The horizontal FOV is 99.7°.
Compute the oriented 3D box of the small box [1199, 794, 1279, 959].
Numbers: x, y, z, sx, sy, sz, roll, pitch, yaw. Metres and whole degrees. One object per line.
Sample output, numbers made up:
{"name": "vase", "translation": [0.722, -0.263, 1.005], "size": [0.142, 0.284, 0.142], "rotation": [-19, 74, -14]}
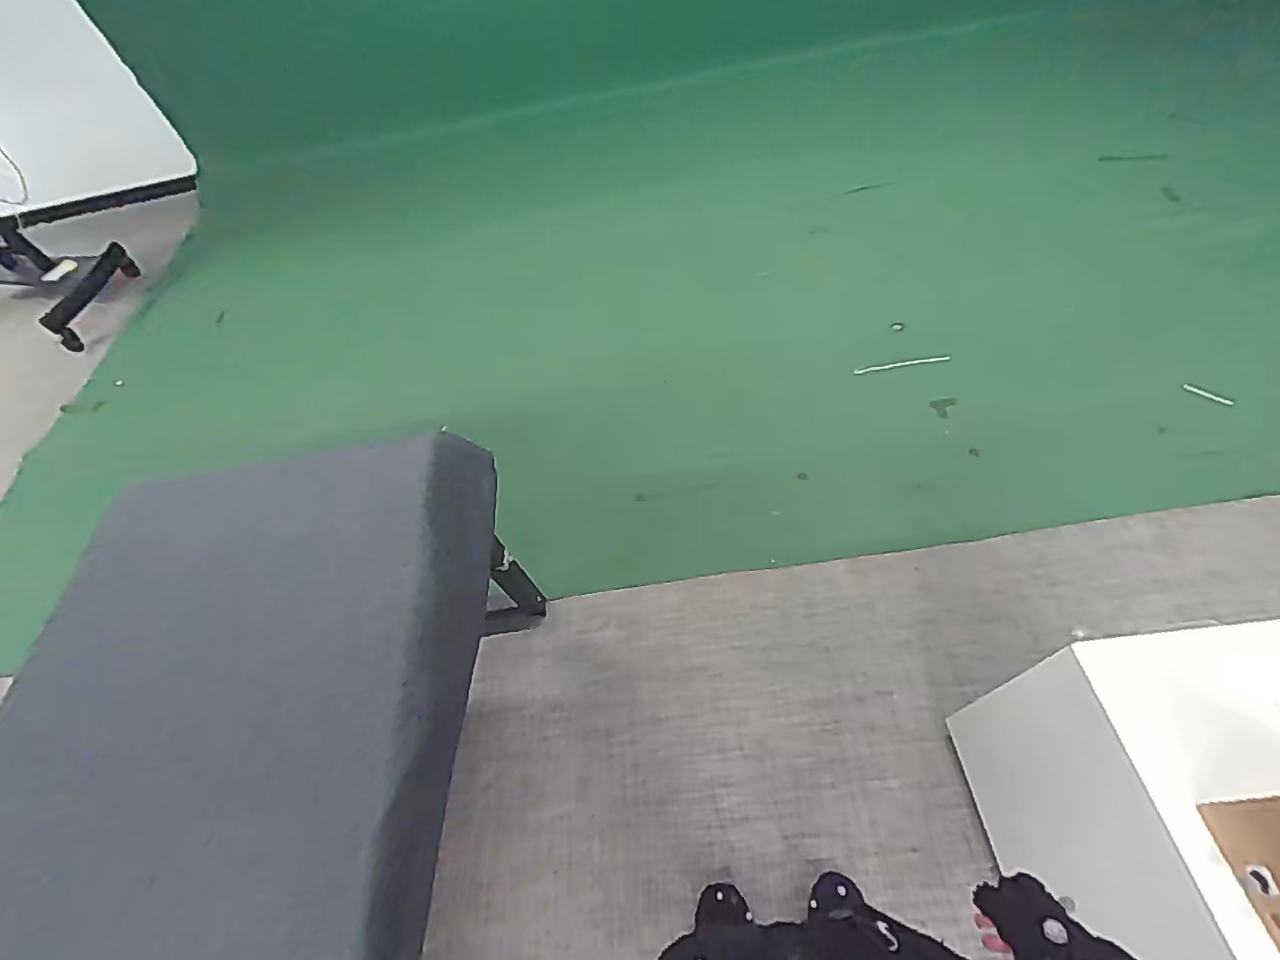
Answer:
{"name": "small box", "translation": [0.710, 0.382, 0.502], "size": [0.179, 0.176, 0.168], "rotation": [-11, 54, 5]}
